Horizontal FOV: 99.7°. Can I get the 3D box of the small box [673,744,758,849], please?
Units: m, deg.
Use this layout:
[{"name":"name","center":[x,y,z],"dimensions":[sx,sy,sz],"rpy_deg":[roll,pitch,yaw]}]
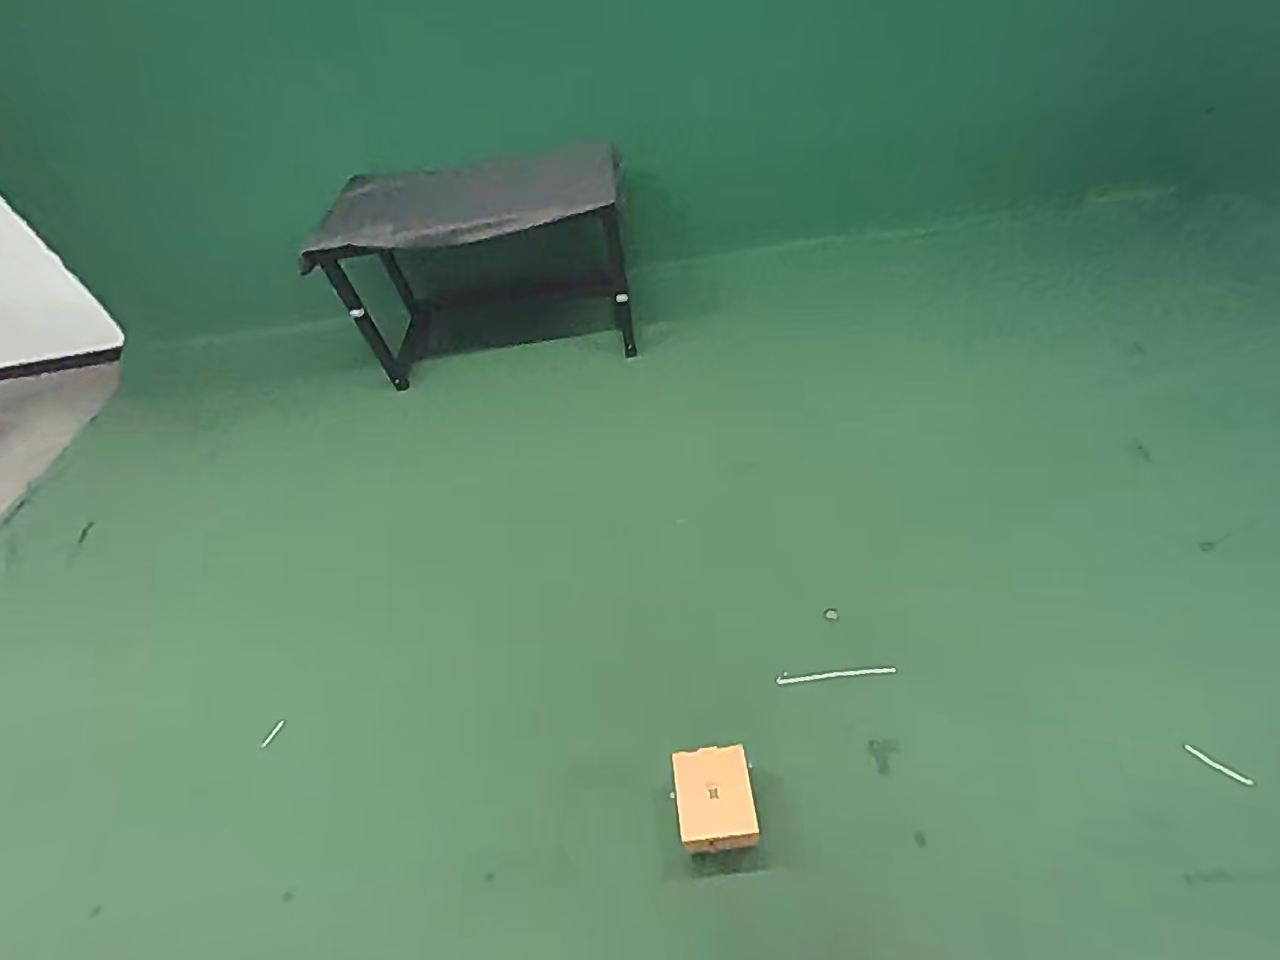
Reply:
[{"name":"small box","center":[0.174,0.730,1.240],"dimensions":[0.168,0.176,0.179],"rpy_deg":[-9,47,3]}]
